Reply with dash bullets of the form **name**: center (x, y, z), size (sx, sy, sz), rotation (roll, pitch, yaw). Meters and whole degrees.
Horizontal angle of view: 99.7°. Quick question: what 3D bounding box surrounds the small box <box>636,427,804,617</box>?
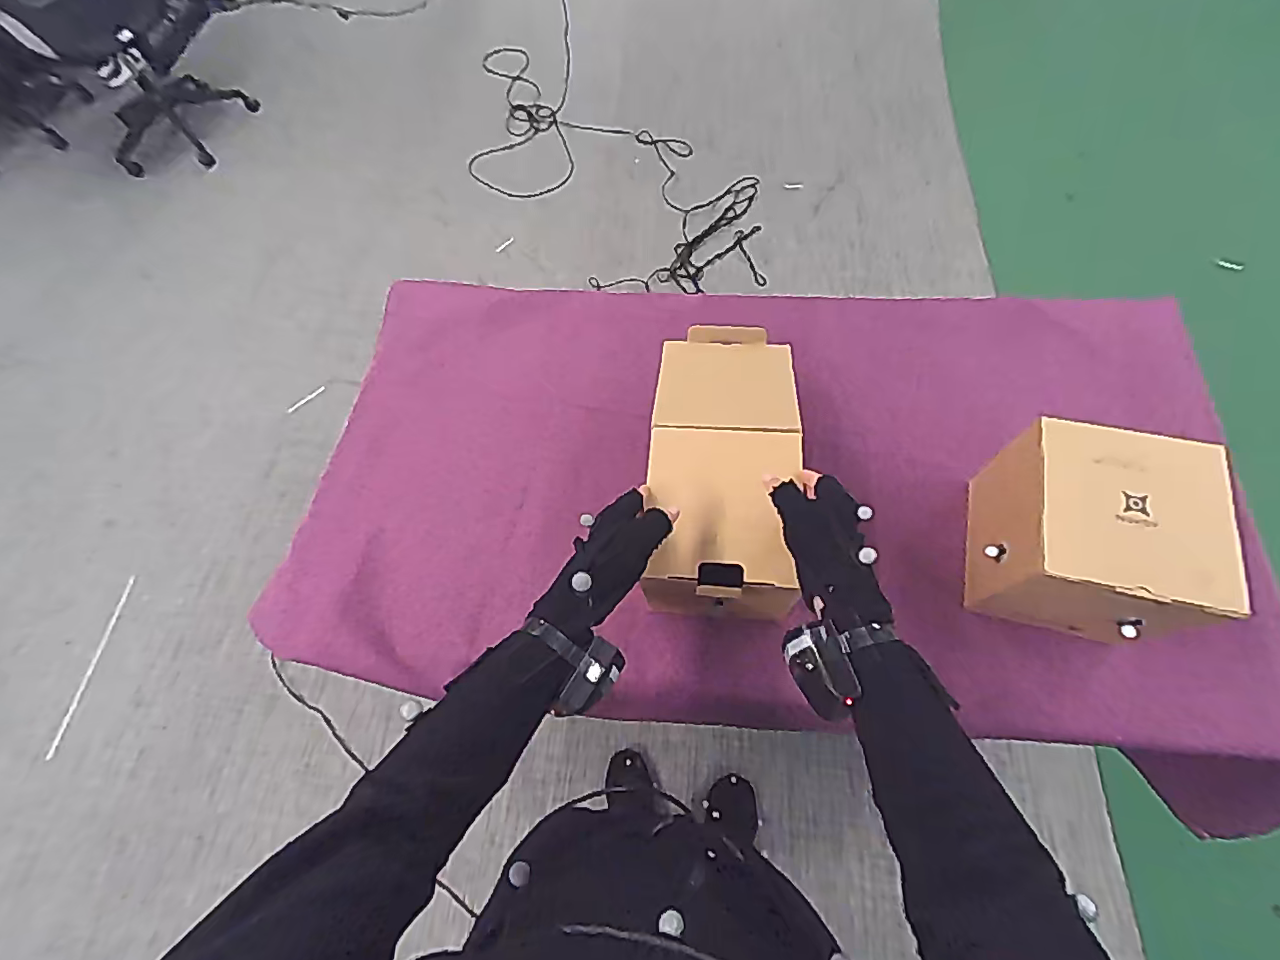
- **small box**: center (0.094, 0.056, 0.630), size (0.168, 0.176, 0.179), rotation (3, 65, 7)

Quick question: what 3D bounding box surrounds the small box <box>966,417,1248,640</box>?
- **small box**: center (0.477, 0.060, 0.585), size (0.168, 0.176, 0.179), rotation (13, 67, 12)
